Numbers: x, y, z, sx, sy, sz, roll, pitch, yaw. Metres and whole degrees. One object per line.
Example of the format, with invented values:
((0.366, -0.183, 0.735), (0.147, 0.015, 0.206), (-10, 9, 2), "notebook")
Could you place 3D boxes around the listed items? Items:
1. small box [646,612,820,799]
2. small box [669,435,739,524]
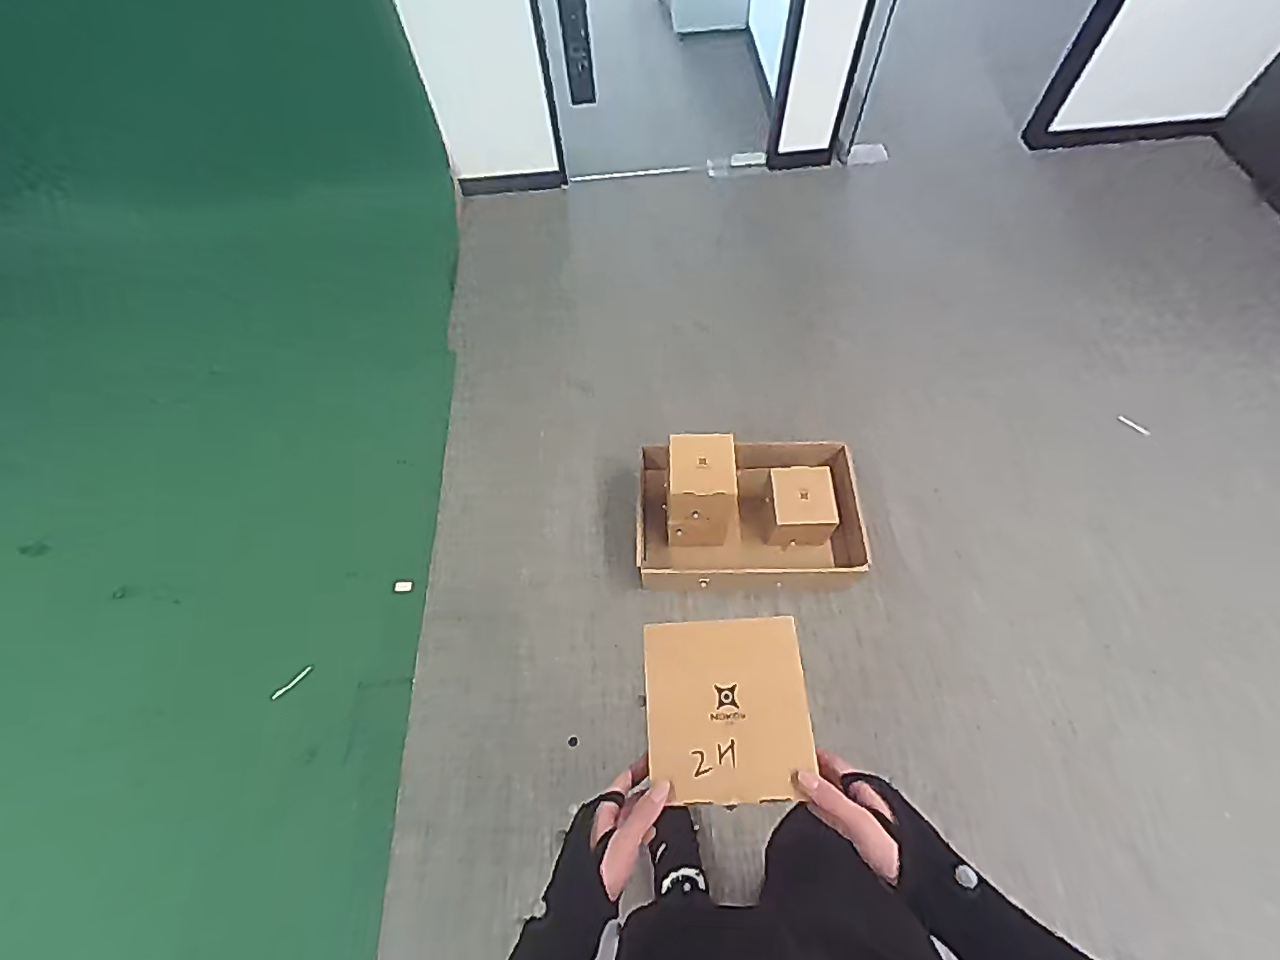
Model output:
((0.094, 0.259, 0.622), (0.168, 0.176, 0.179), (-4, 65, 4), "small box")
((0.161, 0.000, 1.416), (0.168, 0.176, 0.179), (0, 61, 2), "small box")
